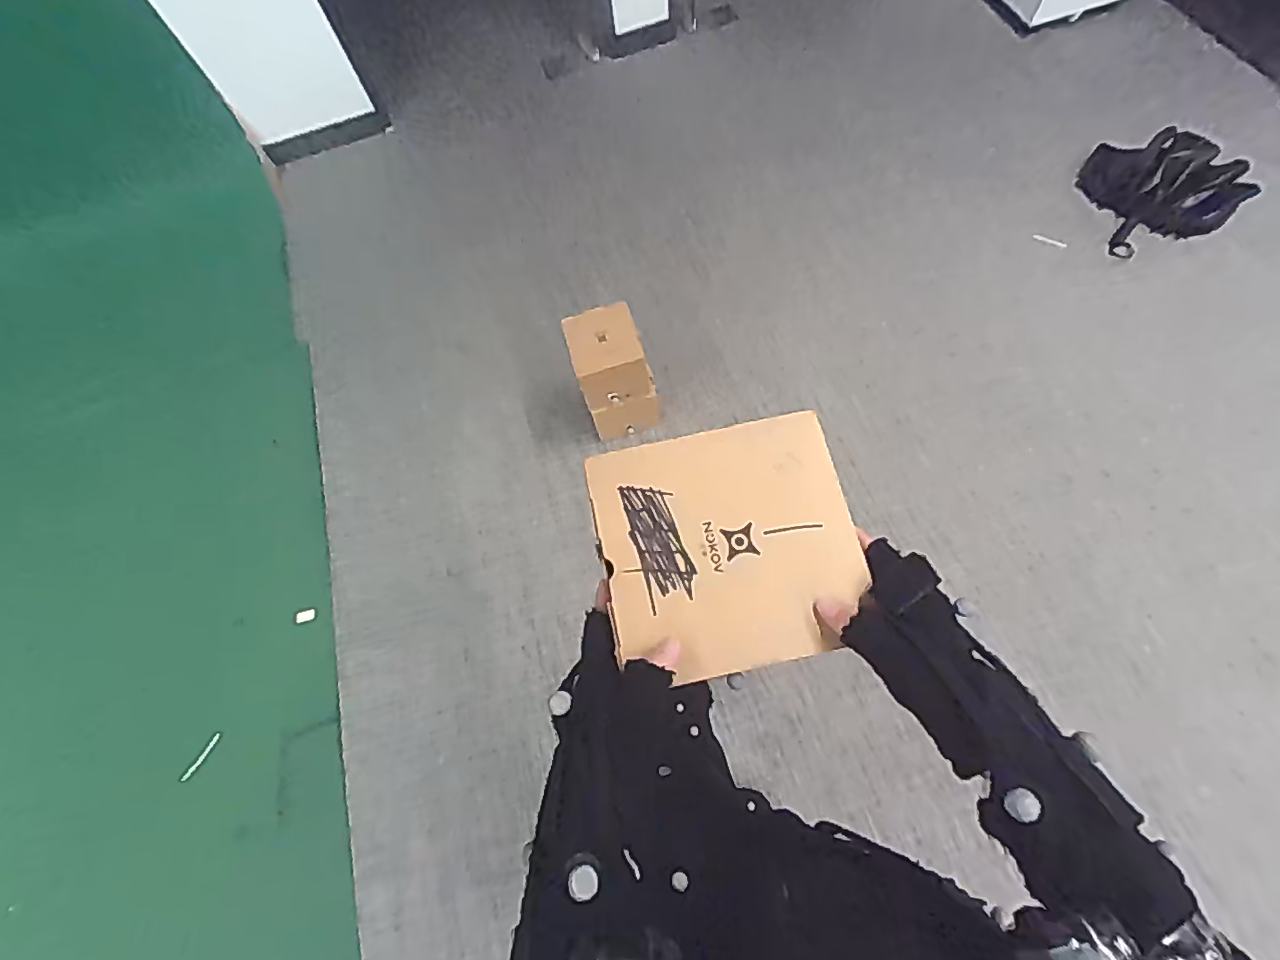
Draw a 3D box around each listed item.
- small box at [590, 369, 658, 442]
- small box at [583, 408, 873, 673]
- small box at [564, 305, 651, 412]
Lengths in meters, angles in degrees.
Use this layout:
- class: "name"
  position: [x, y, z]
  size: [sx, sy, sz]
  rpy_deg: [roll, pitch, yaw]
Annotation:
- class: "small box"
  position: [-0.052, -0.228, 1.496]
  size: [0.179, 0.176, 0.168]
  rpy_deg: [-16, 67, -1]
- class: "small box"
  position: [0.060, 0.062, 0.456]
  size: [0.179, 0.176, 0.168]
  rpy_deg: [-12, 72, -1]
- class: "small box"
  position: [-0.077, -0.298, 1.350]
  size: [0.168, 0.176, 0.179]
  rpy_deg: [-18, 68, 0]
